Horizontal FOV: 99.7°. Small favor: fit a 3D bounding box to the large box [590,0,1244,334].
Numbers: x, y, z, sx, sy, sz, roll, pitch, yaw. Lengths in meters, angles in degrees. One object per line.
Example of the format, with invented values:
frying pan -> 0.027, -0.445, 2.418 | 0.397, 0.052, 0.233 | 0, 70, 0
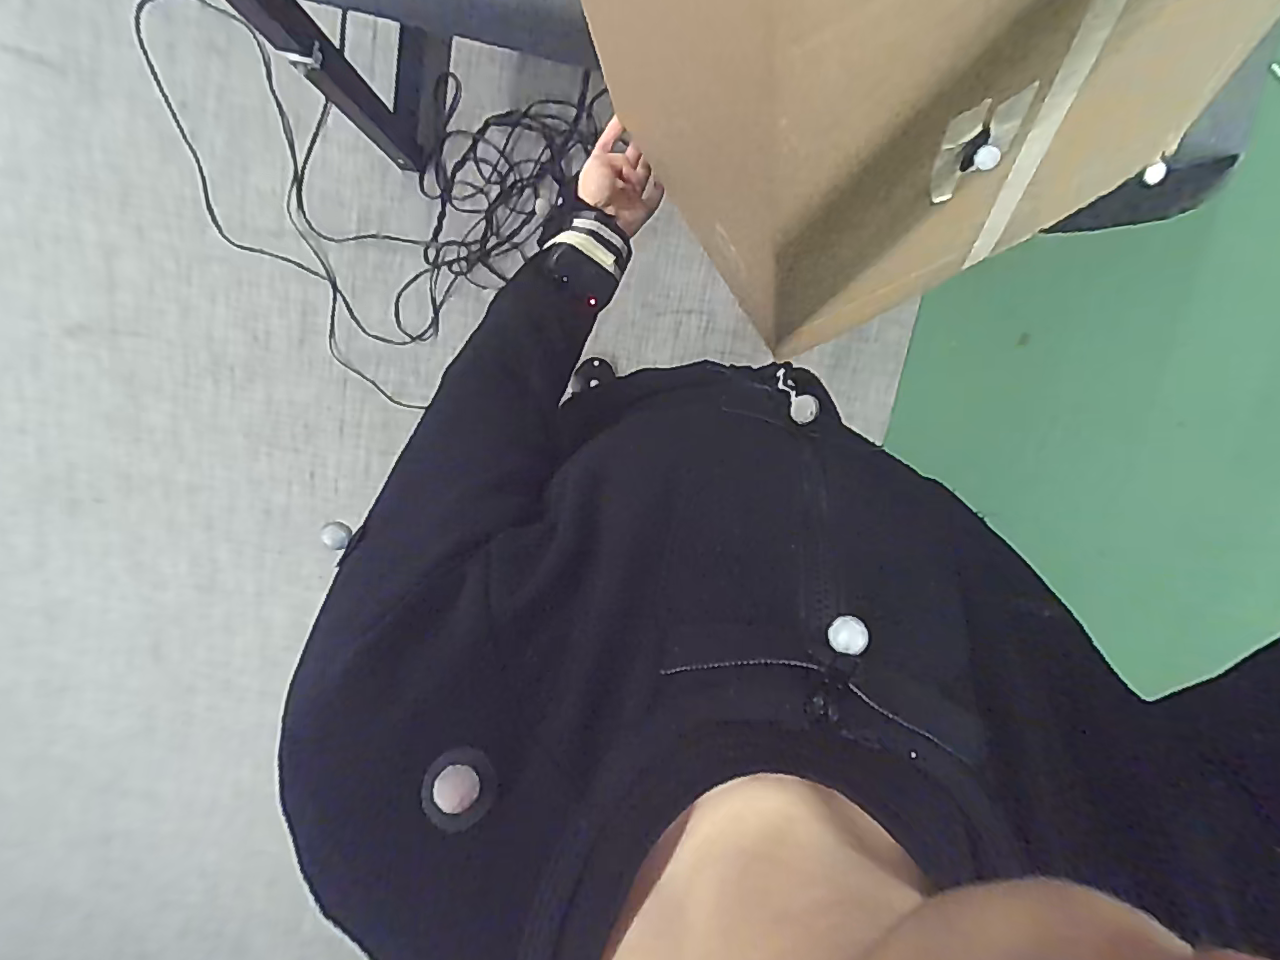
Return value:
large box -> 0.131, -0.359, 0.277 | 0.320, 0.408, 0.320 | -29, 71, 6
